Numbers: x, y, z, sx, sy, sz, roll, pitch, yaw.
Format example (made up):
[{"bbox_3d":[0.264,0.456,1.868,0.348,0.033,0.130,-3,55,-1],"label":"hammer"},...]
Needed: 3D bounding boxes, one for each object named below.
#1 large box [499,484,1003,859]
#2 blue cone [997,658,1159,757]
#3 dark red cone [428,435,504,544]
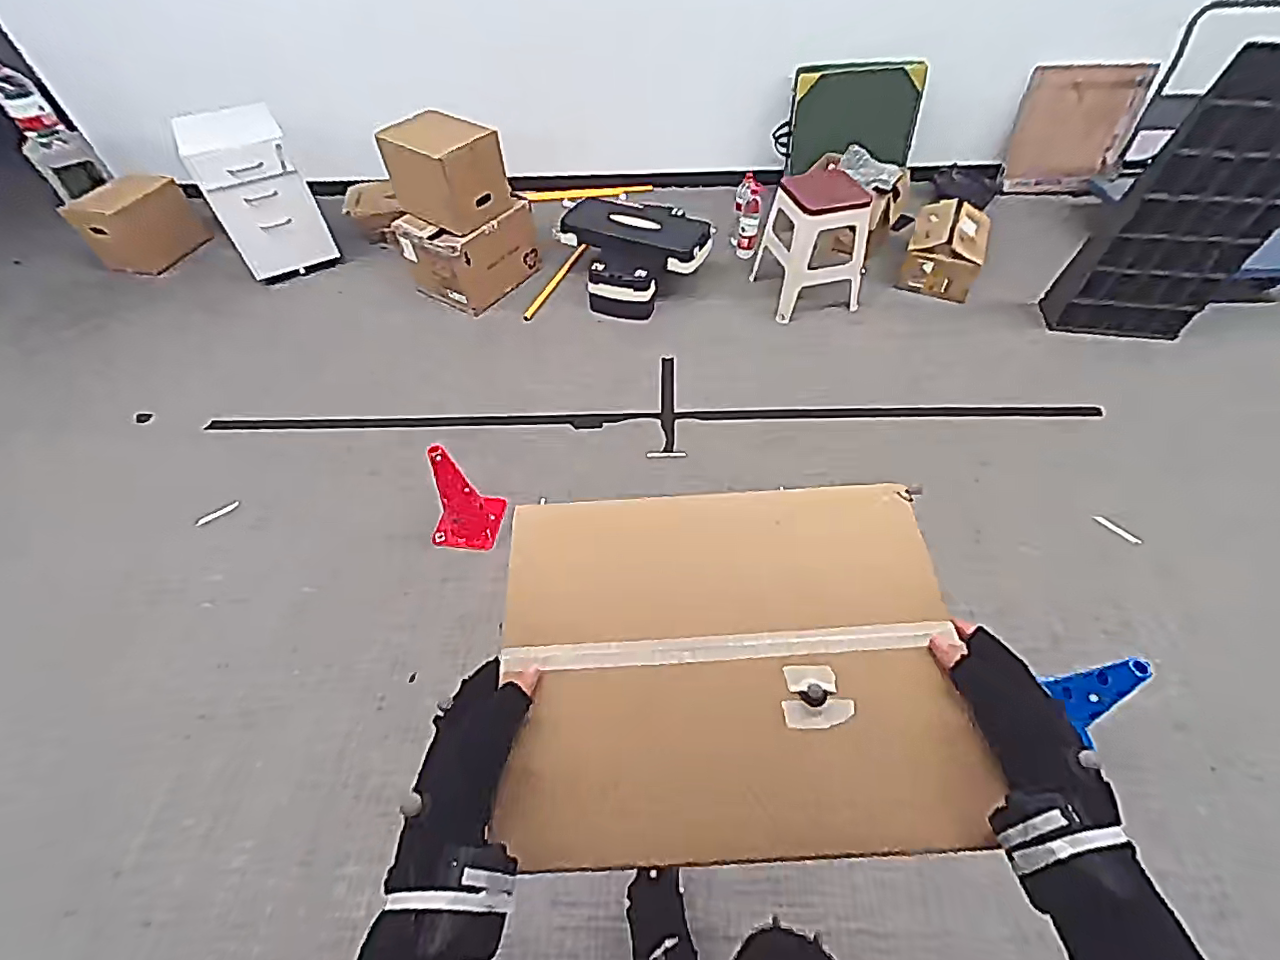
[{"bbox_3d":[0.082,0.224,0.622,0.408,0.320,0.320,-3,60,1],"label":"large box"},{"bbox_3d":[1.005,0.485,1.222,0.192,0.380,0.193,3,52,3],"label":"blue cone"},{"bbox_3d":[-0.552,0.015,1.602,0.201,0.394,0.202,5,52,5],"label":"dark red cone"}]
